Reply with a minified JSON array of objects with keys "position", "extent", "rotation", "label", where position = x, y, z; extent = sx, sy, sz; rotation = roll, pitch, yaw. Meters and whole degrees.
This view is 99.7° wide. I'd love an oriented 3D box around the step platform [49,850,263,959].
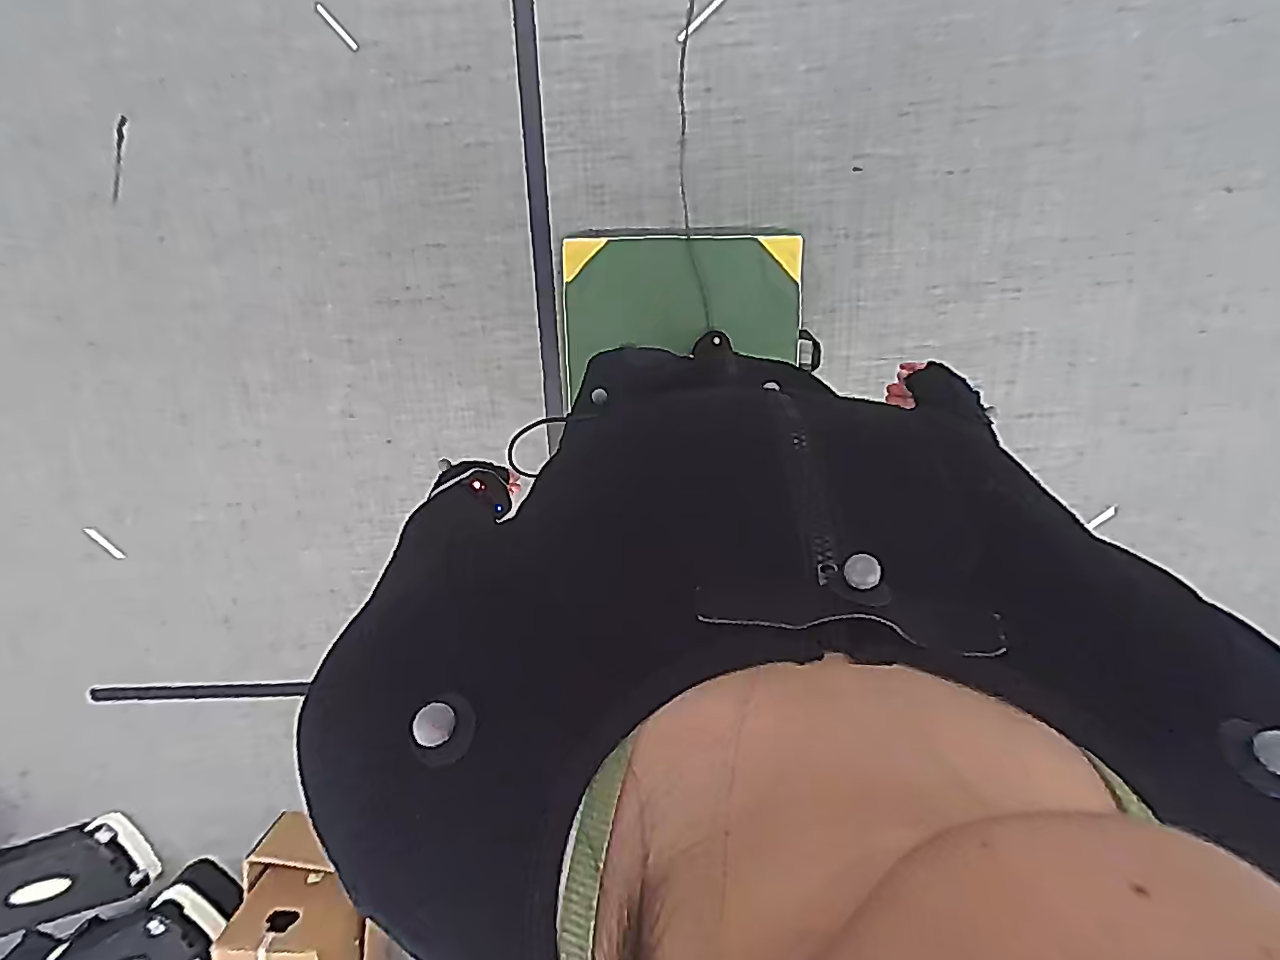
[{"position":[-1.725,1.609,1.919],"extent":[0.684,0.204,0.286],"rotation":[-30,102,8],"label":"step platform"}]
